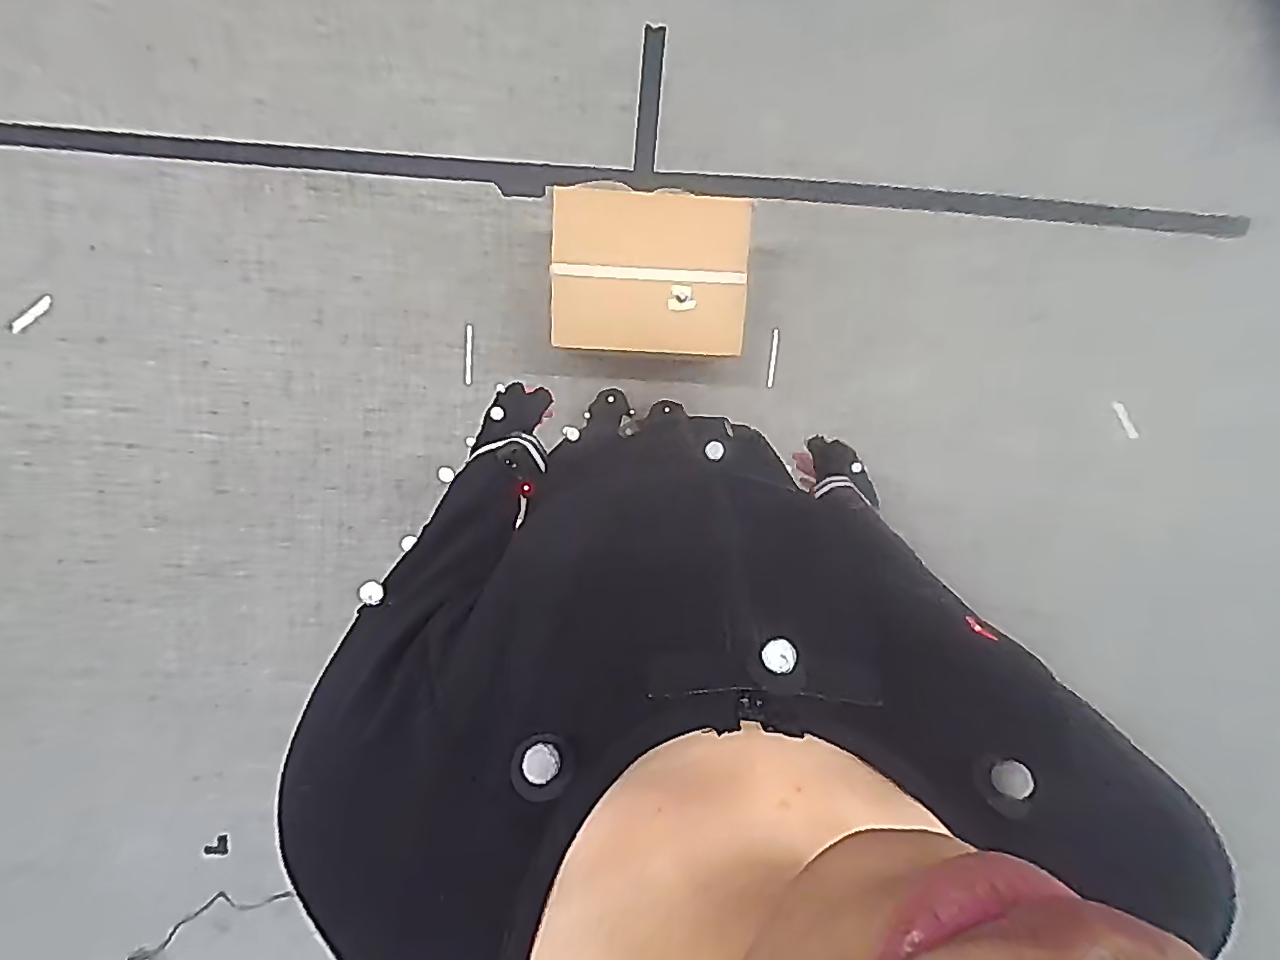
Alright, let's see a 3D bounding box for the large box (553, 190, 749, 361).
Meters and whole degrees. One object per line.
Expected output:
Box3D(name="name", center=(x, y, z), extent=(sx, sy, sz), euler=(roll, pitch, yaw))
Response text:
Box3D(name="large box", center=(0.010, -0.448, 1.260), extent=(0.408, 0.320, 0.320), euler=(2, 101, -4))
